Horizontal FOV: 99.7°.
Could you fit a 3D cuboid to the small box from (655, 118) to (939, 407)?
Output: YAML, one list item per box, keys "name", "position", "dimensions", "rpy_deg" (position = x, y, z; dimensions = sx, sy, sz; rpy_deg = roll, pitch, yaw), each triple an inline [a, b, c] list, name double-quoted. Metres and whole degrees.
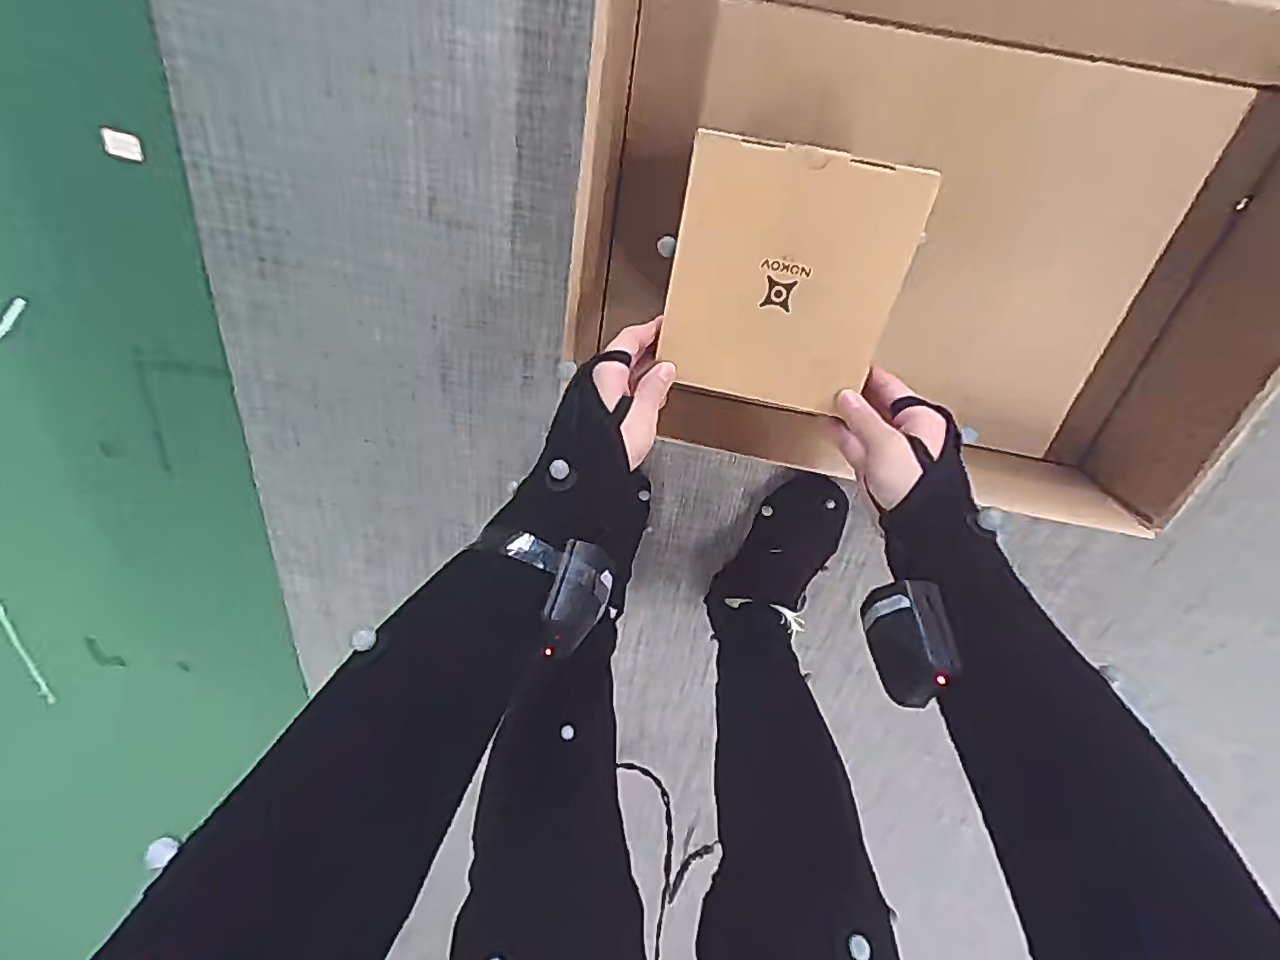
- name: "small box"
  position: [0.119, -0.186, 0.470]
  dimensions: [0.168, 0.176, 0.179]
  rpy_deg: [13, 117, 4]
